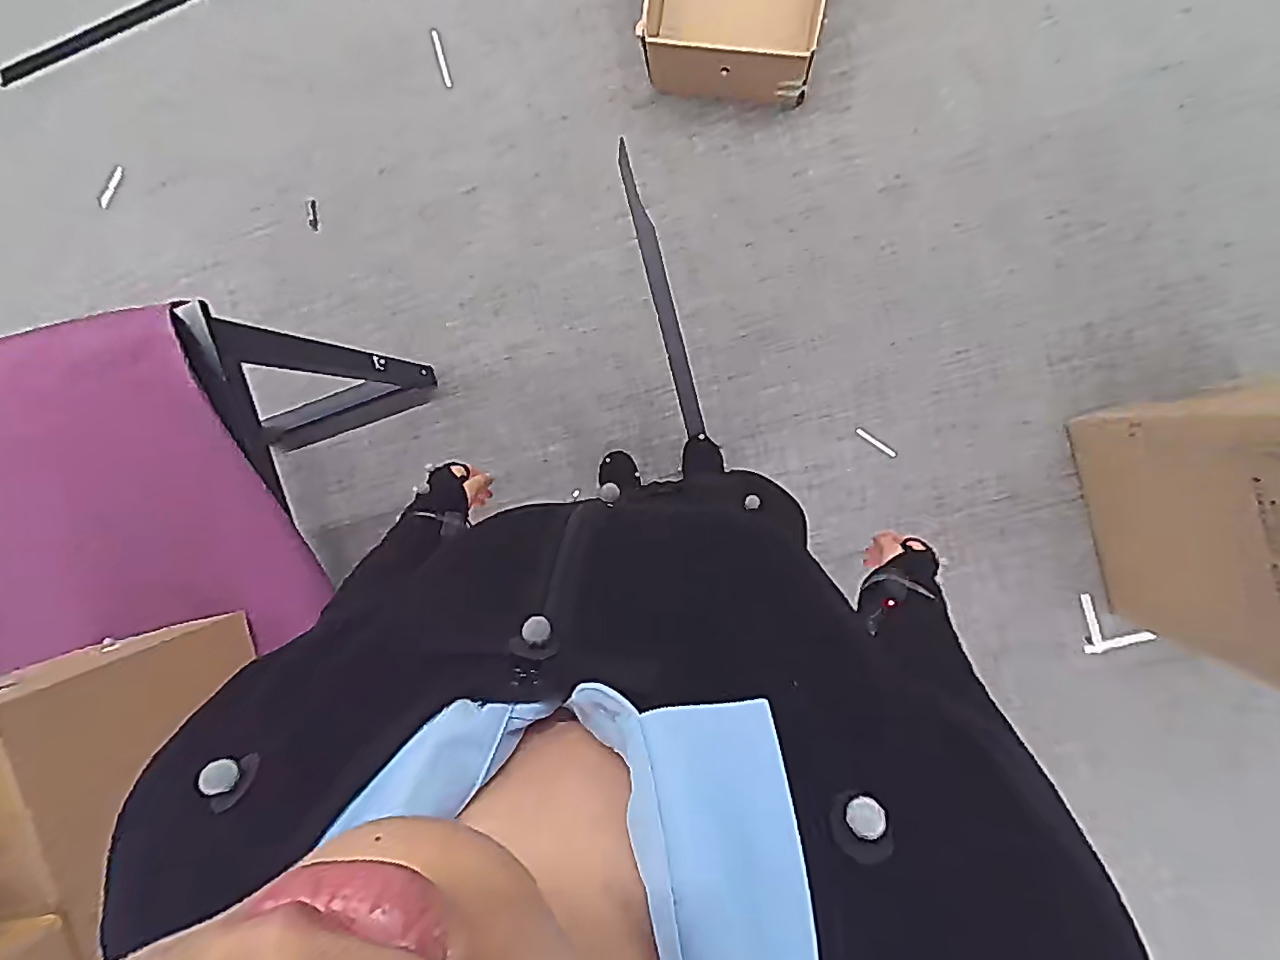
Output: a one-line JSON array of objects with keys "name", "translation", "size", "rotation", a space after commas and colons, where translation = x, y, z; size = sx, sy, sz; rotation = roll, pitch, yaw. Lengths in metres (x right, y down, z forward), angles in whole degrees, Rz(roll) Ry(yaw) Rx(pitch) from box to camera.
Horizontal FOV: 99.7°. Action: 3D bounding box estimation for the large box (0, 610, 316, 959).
[{"name": "large box", "translation": [-0.728, 0.443, 0.729], "size": [0.320, 0.320, 0.408], "rotation": [-14, 94, 10]}]
